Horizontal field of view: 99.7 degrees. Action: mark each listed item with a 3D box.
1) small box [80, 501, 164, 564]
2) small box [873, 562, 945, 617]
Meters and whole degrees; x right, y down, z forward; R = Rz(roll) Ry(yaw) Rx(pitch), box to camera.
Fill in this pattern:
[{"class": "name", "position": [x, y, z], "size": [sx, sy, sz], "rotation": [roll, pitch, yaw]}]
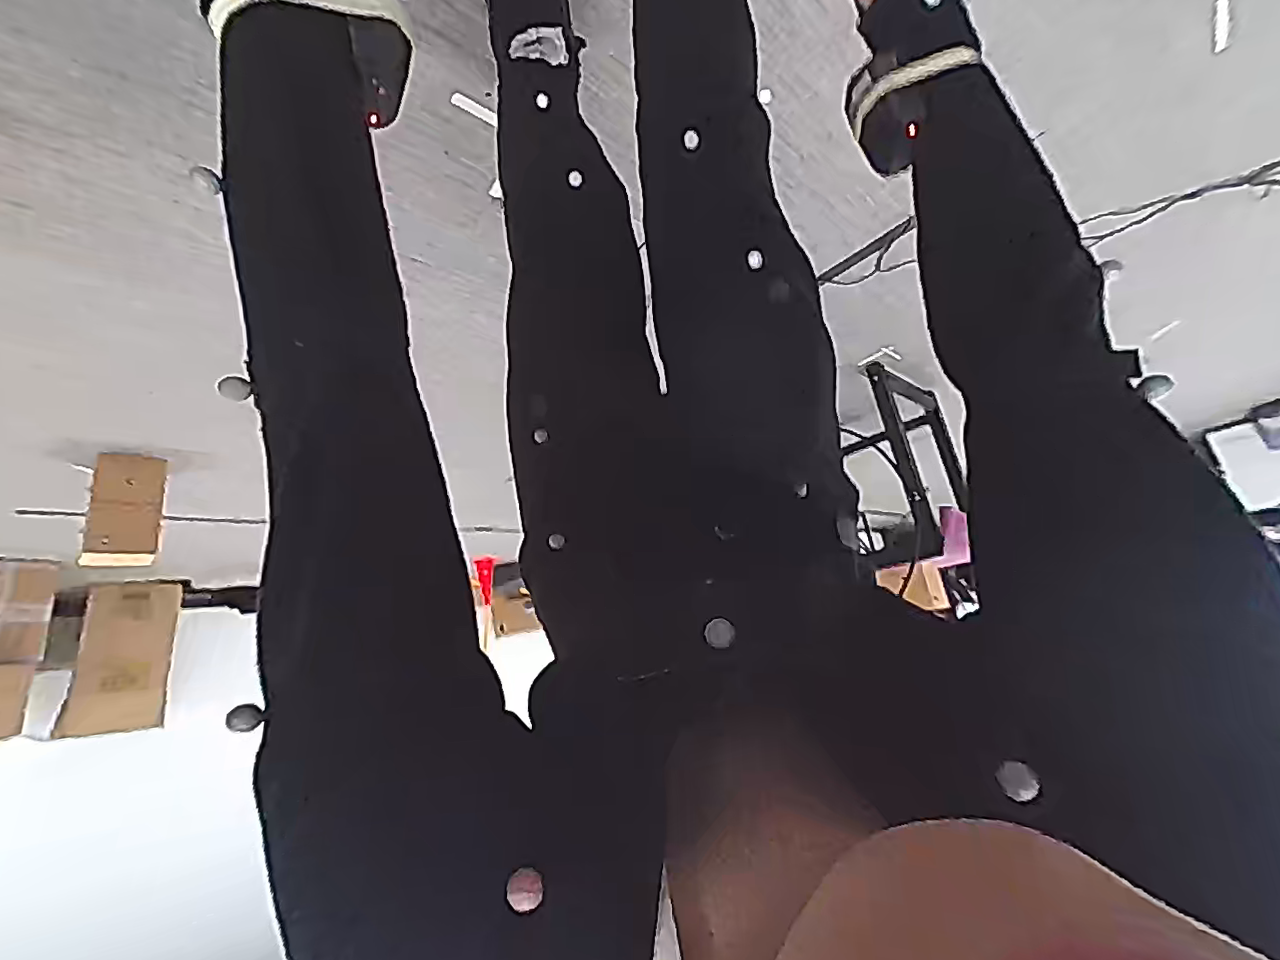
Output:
[{"class": "small box", "position": [-1.696, 0.173, 1.773], "size": [0.168, 0.176, 0.179], "rotation": [-23, 158, 39]}, {"class": "small box", "position": [0.975, 0.396, 1.962], "size": [0.179, 0.176, 0.168], "rotation": [10, 154, -45]}]
